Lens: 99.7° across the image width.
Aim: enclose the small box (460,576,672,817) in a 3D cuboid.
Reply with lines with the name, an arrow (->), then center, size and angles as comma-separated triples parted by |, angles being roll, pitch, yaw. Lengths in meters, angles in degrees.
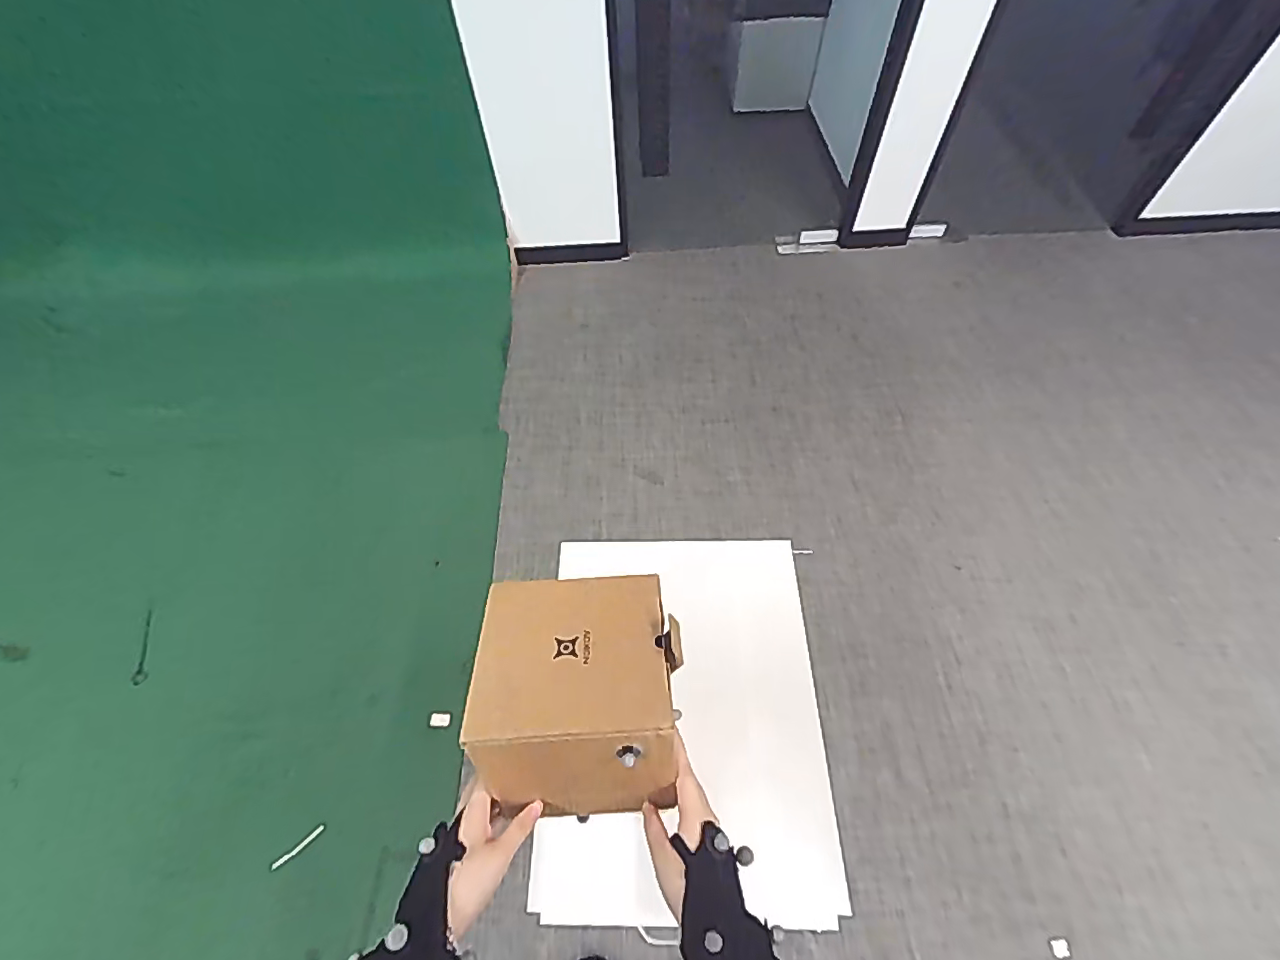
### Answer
small box -> -0.060, 0.218, 0.546 | 0.179, 0.176, 0.168 | -3, 39, -2
